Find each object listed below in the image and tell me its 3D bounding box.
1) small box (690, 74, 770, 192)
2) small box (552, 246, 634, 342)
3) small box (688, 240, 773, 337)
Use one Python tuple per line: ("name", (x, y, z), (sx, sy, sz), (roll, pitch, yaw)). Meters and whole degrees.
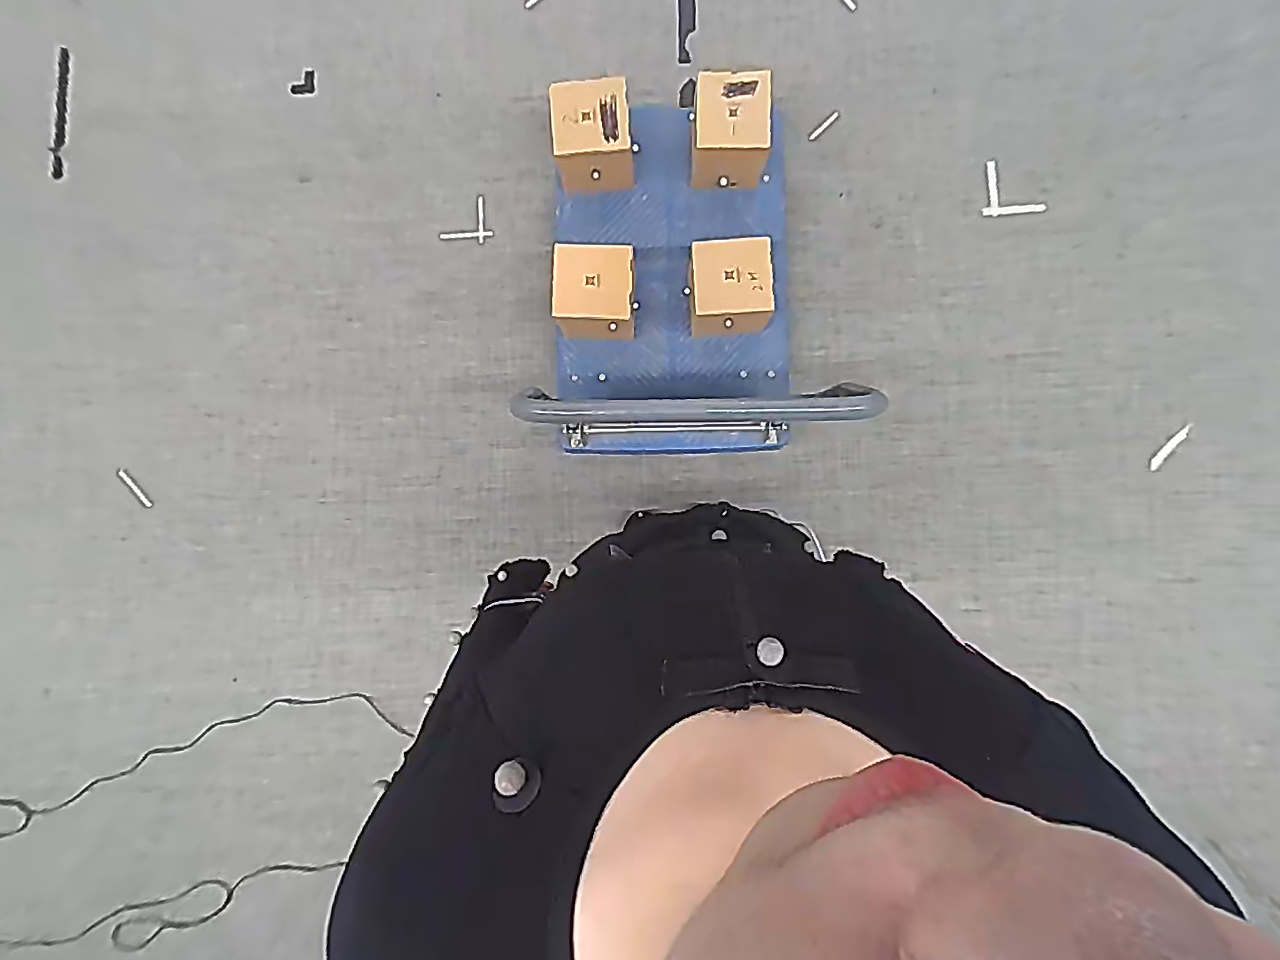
("small box", (0.206, -0.814, 1.279), (0.168, 0.176, 0.179), (1, 89, 1))
("small box", (-0.105, -0.430, 1.273), (0.179, 0.176, 0.168), (1, 88, 0))
("small box", (0.205, -0.440, 1.266), (0.179, 0.176, 0.168), (-3, 88, 1))
